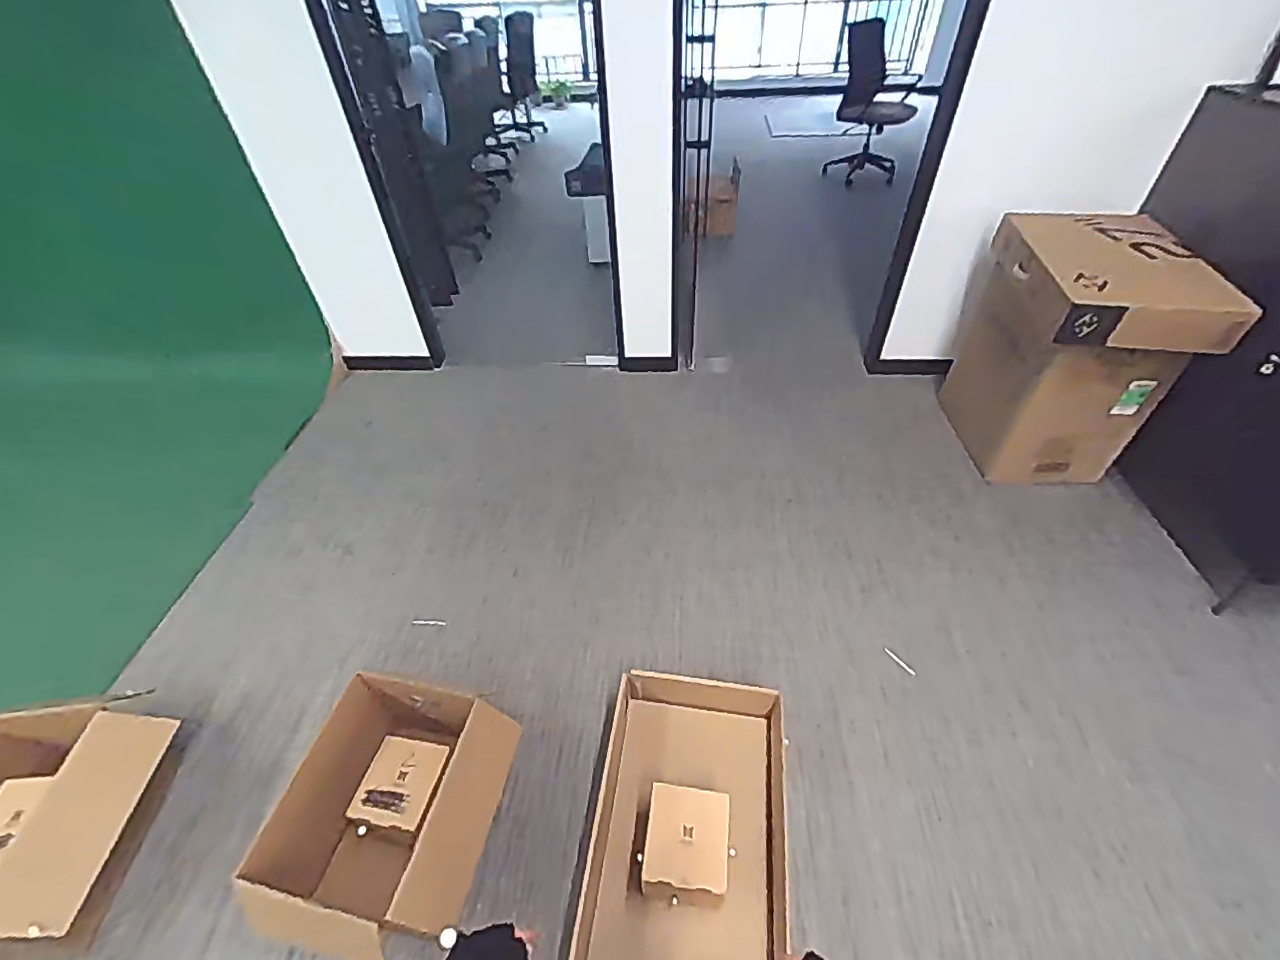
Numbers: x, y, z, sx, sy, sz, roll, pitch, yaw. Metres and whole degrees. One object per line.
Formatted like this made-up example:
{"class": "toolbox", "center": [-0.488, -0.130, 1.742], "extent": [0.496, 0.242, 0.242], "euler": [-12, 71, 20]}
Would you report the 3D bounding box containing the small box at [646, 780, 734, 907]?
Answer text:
{"class": "small box", "center": [0.105, 0.768, 1.143], "extent": [0.168, 0.176, 0.179], "euler": [5, 44, 7]}
